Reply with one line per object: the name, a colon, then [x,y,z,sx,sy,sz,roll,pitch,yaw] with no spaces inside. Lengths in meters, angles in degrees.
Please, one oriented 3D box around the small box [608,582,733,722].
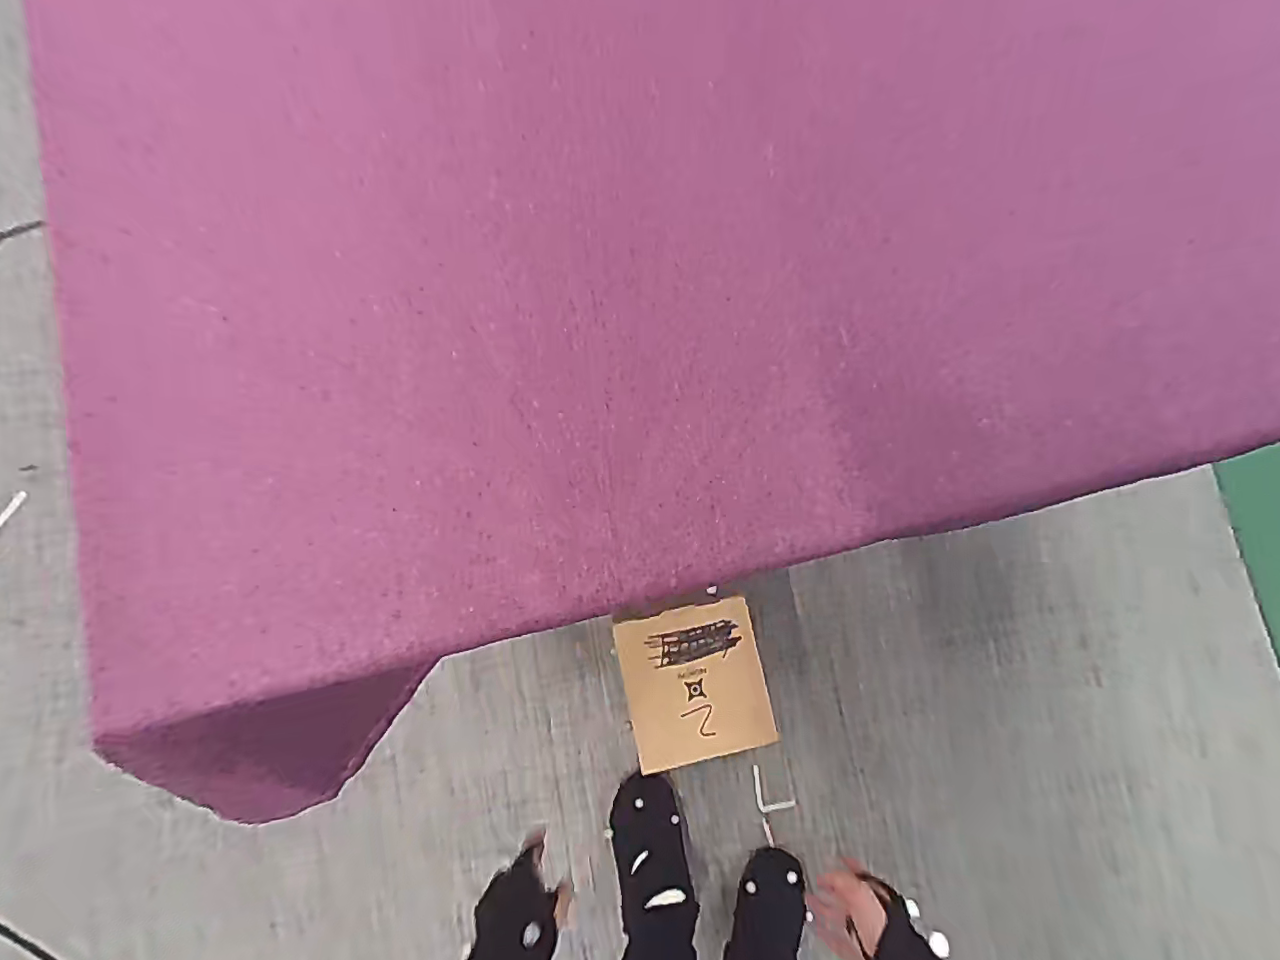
small box: [0.045,0.271,0.889,0.168,0.176,0.179,-10,82,-3]
